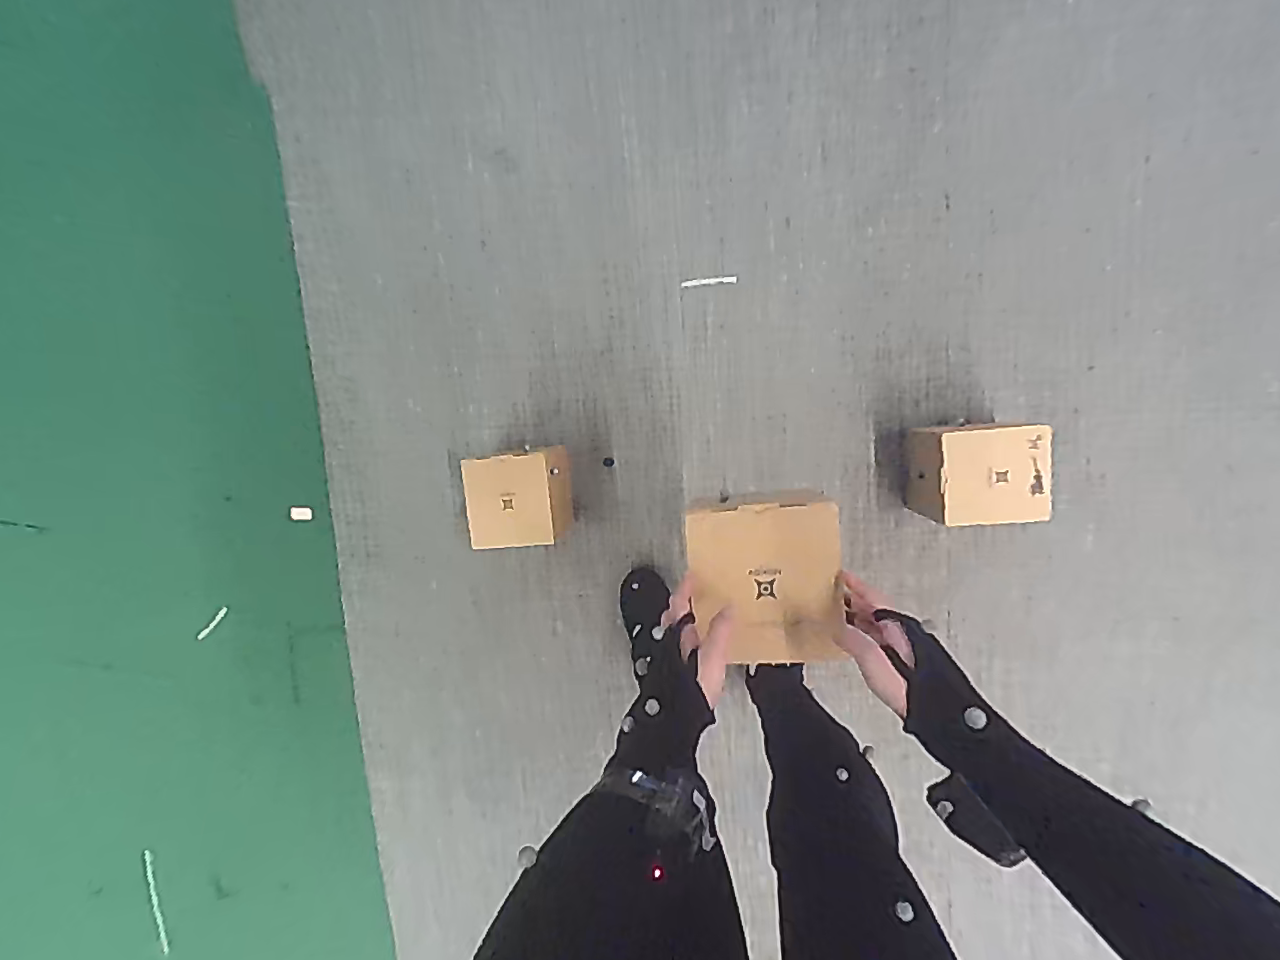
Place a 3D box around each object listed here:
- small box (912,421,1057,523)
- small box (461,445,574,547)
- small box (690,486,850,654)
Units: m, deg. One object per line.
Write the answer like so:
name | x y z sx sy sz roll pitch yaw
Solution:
small box | 0.610 -0.019 0.981 0.179 0.176 0.168 -3 97 7
small box | -0.234 0.026 1.078 0.168 0.176 0.179 -5 95 7
small box | 0.150 0.099 0.662 0.168 0.176 0.179 -4 93 9
